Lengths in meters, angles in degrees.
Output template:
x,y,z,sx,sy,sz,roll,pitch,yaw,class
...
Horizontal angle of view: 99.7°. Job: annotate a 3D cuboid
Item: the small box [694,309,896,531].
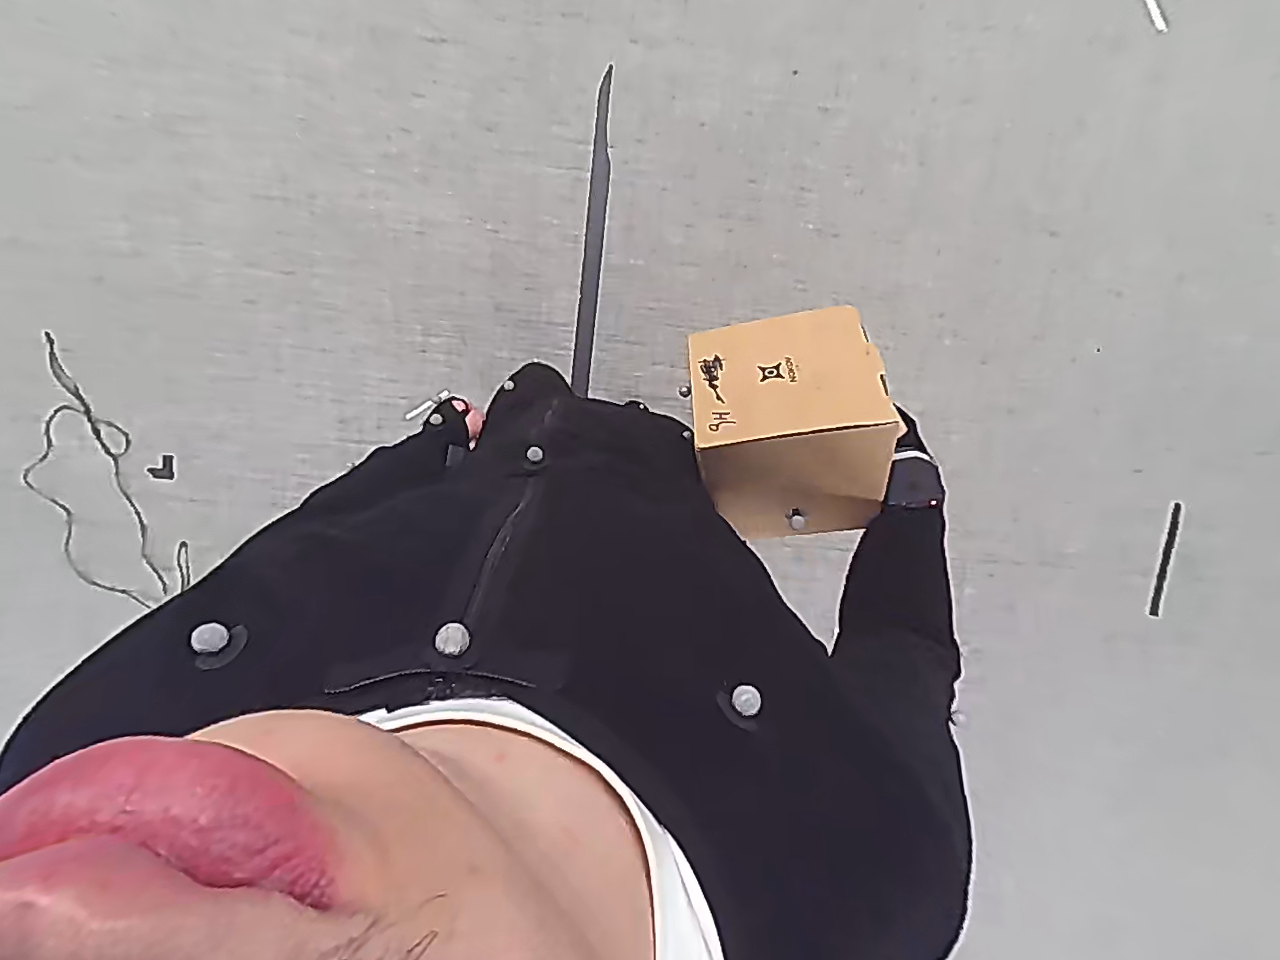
x,y,z,sx,sy,sz,roll,pitch,yaw,class
0.158,-0.059,0.599,0.179,0.168,0.176,-7,141,10,small box
